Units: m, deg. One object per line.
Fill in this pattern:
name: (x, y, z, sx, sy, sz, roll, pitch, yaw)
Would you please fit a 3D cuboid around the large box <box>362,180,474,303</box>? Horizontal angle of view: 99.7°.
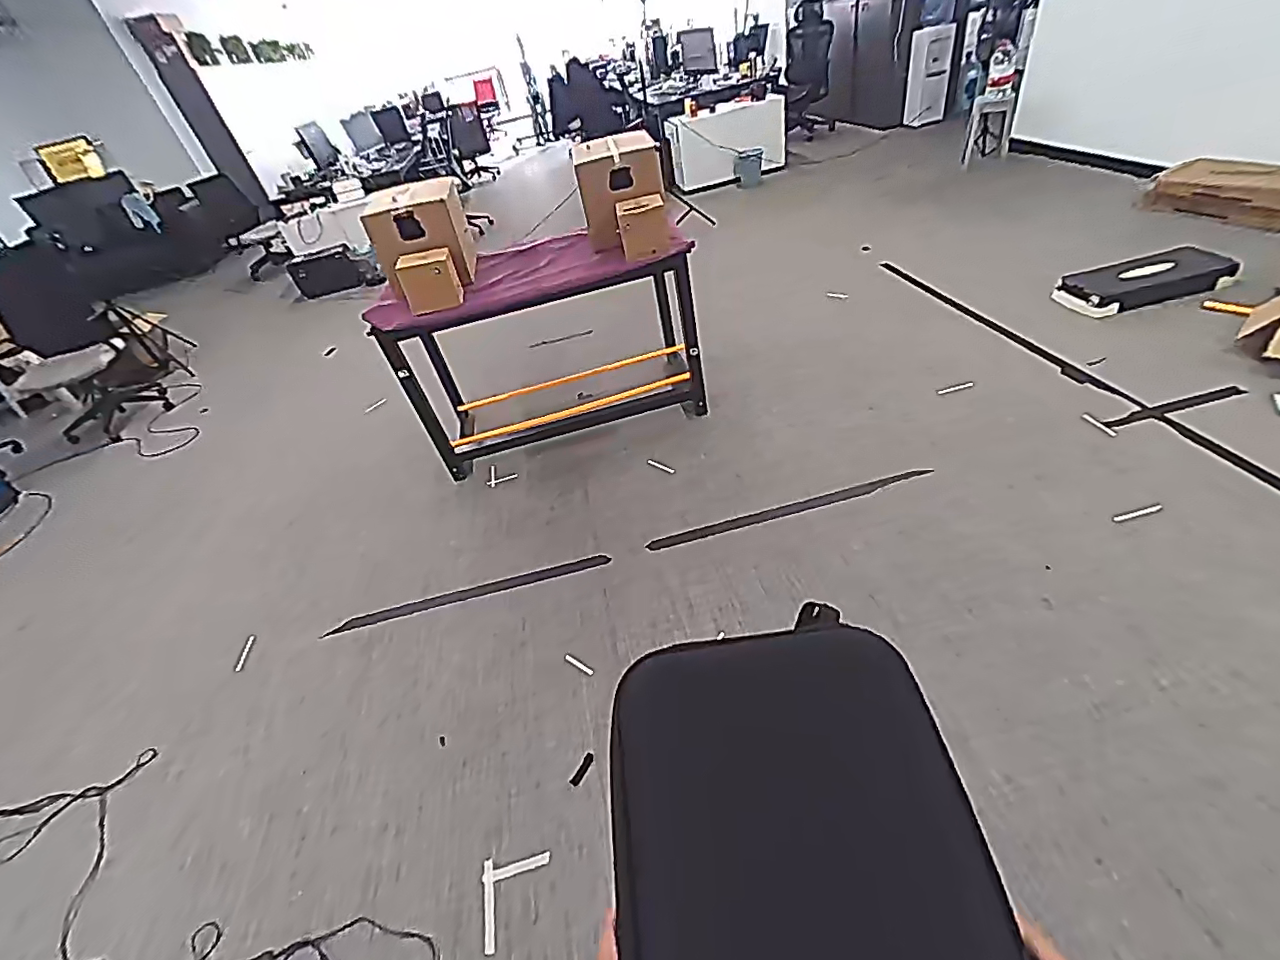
large box: (-0.864, -0.961, 2.168, 0.320, 0.320, 0.408, -15, 42, -3)
